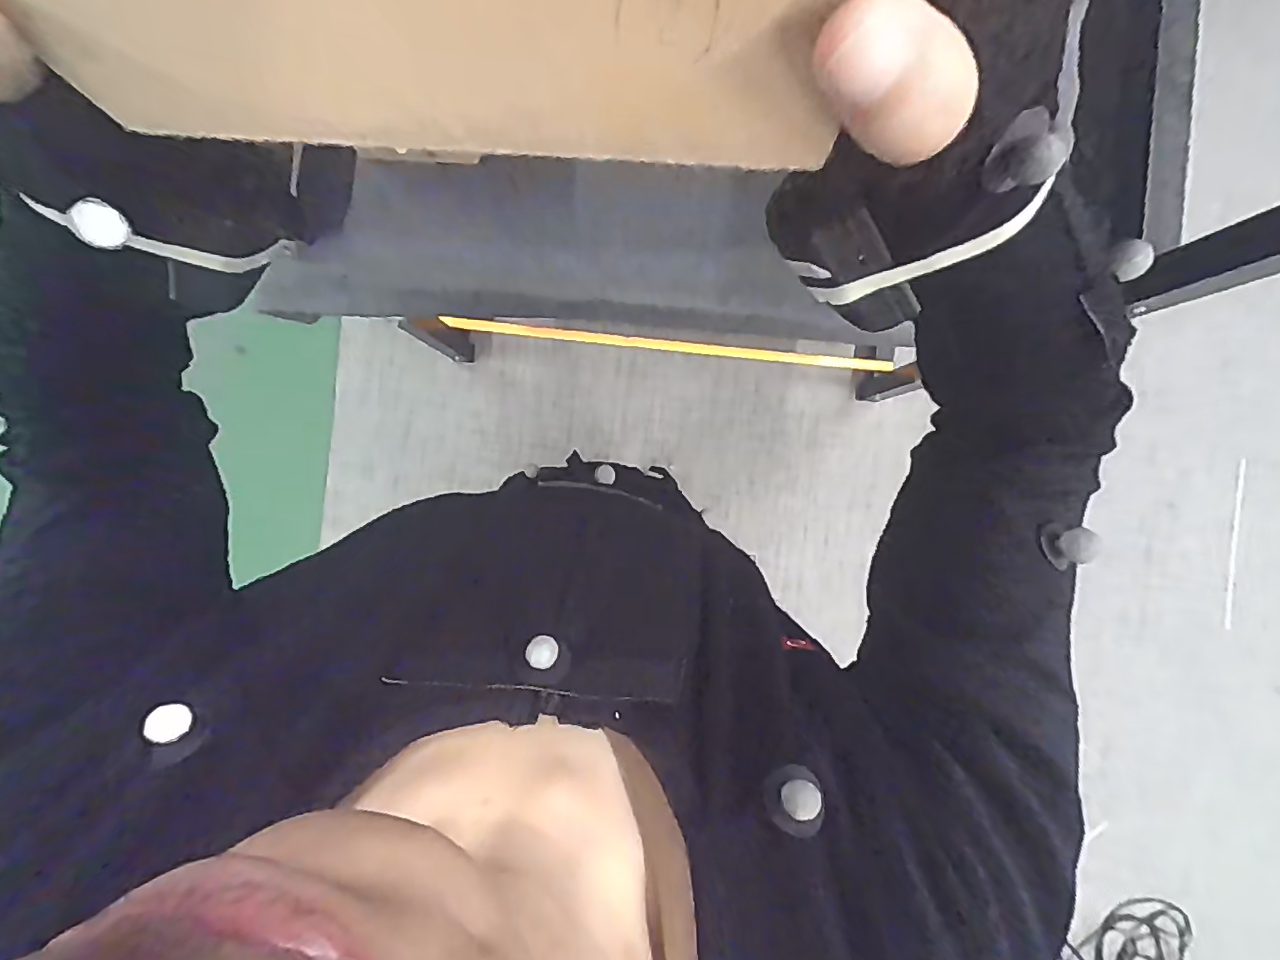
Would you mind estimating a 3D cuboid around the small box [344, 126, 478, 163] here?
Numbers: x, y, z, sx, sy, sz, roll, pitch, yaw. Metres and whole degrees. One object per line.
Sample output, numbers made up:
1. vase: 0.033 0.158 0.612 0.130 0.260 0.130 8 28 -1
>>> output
1. small box: -0.301 -0.531 0.670 0.168 0.176 0.179 3 91 0
